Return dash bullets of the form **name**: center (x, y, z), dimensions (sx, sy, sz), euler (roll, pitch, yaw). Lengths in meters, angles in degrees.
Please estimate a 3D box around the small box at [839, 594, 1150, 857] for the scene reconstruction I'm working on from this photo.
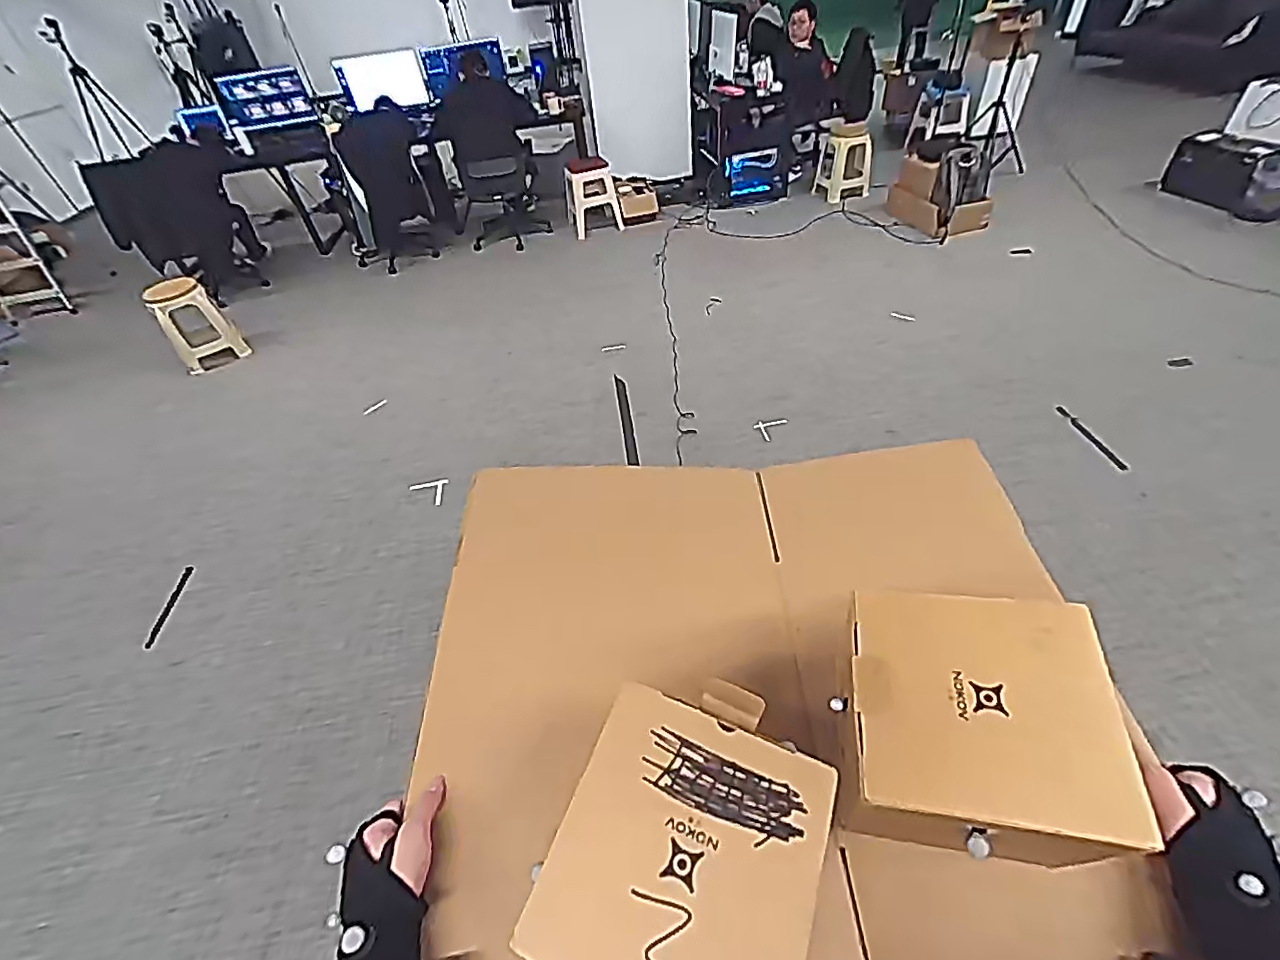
- **small box**: center (0.275, 0.217, 0.475), dimensions (0.179, 0.176, 0.168), euler (0, 53, 17)
